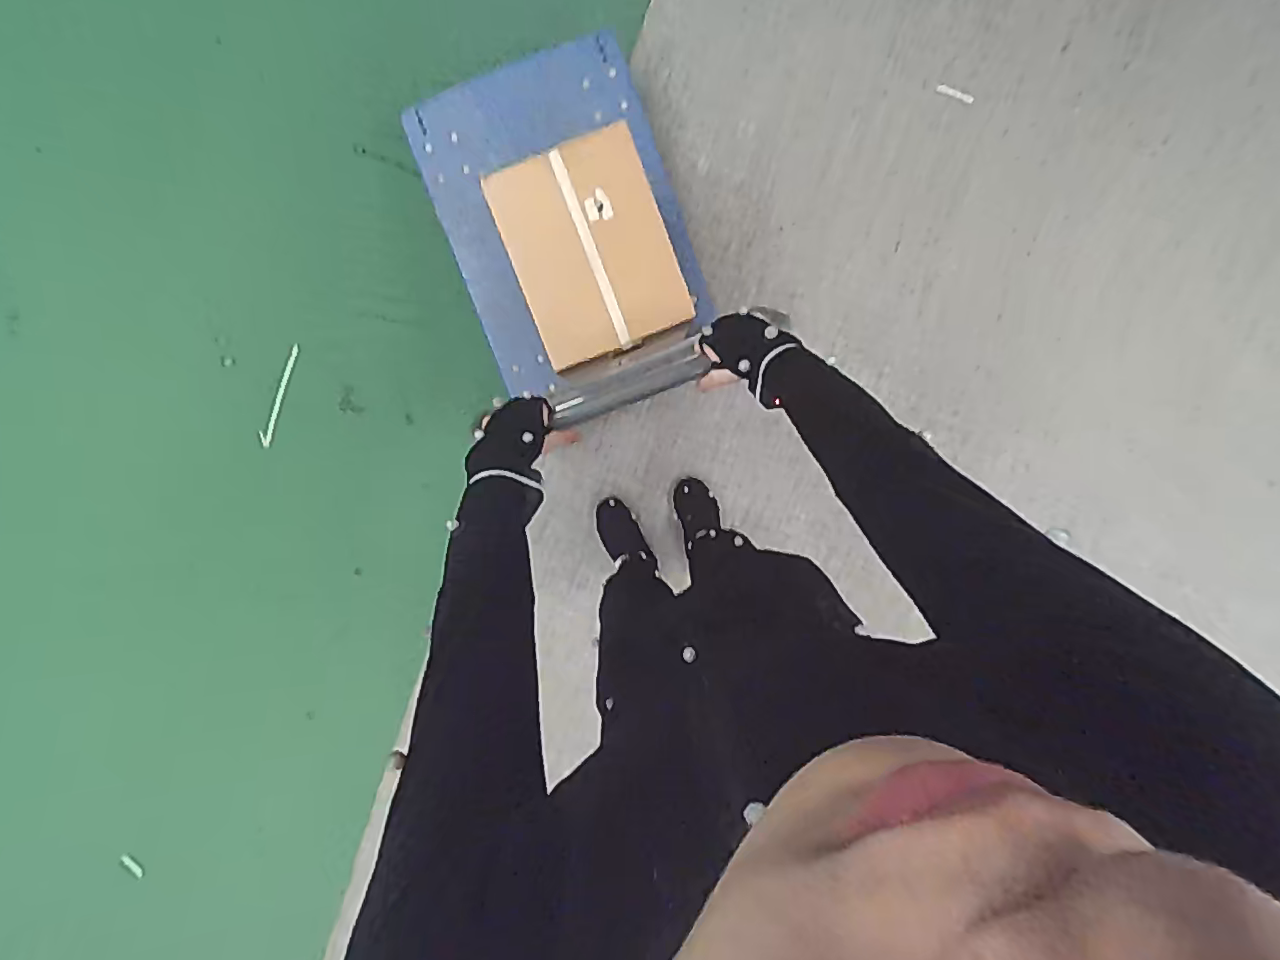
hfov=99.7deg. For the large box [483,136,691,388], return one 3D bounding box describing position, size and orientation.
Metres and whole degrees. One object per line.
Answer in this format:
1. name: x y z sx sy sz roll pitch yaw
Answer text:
1. large box: -0.103 -0.467 1.253 0.320 0.320 0.408 -21 93 1
